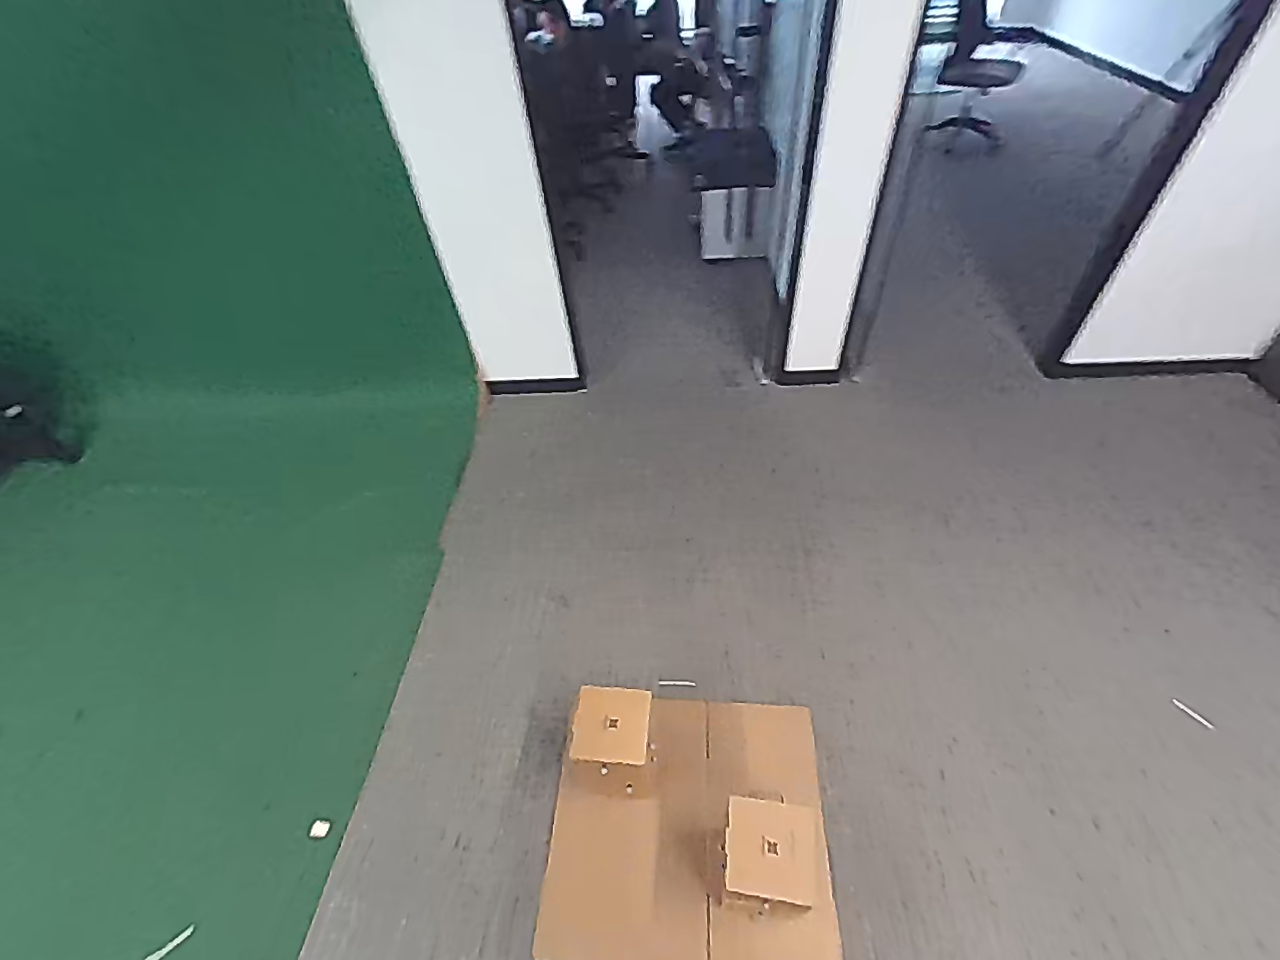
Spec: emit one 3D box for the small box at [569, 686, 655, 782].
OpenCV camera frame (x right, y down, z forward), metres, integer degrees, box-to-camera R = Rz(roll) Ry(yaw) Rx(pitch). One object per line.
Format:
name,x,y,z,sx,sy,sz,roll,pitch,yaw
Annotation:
small box,-0.059,0.618,1.308,0.179,0.176,0.168,2,49,8

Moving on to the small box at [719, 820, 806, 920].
small box,0.277,0.897,1.246,0.179,0.176,0.168,3,48,8

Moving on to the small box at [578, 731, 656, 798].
small box,-0.053,0.725,1.429,0.179,0.176,0.168,2,48,7

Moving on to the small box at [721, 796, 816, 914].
small box,0.264,0.785,1.127,0.179,0.176,0.168,5,49,10
